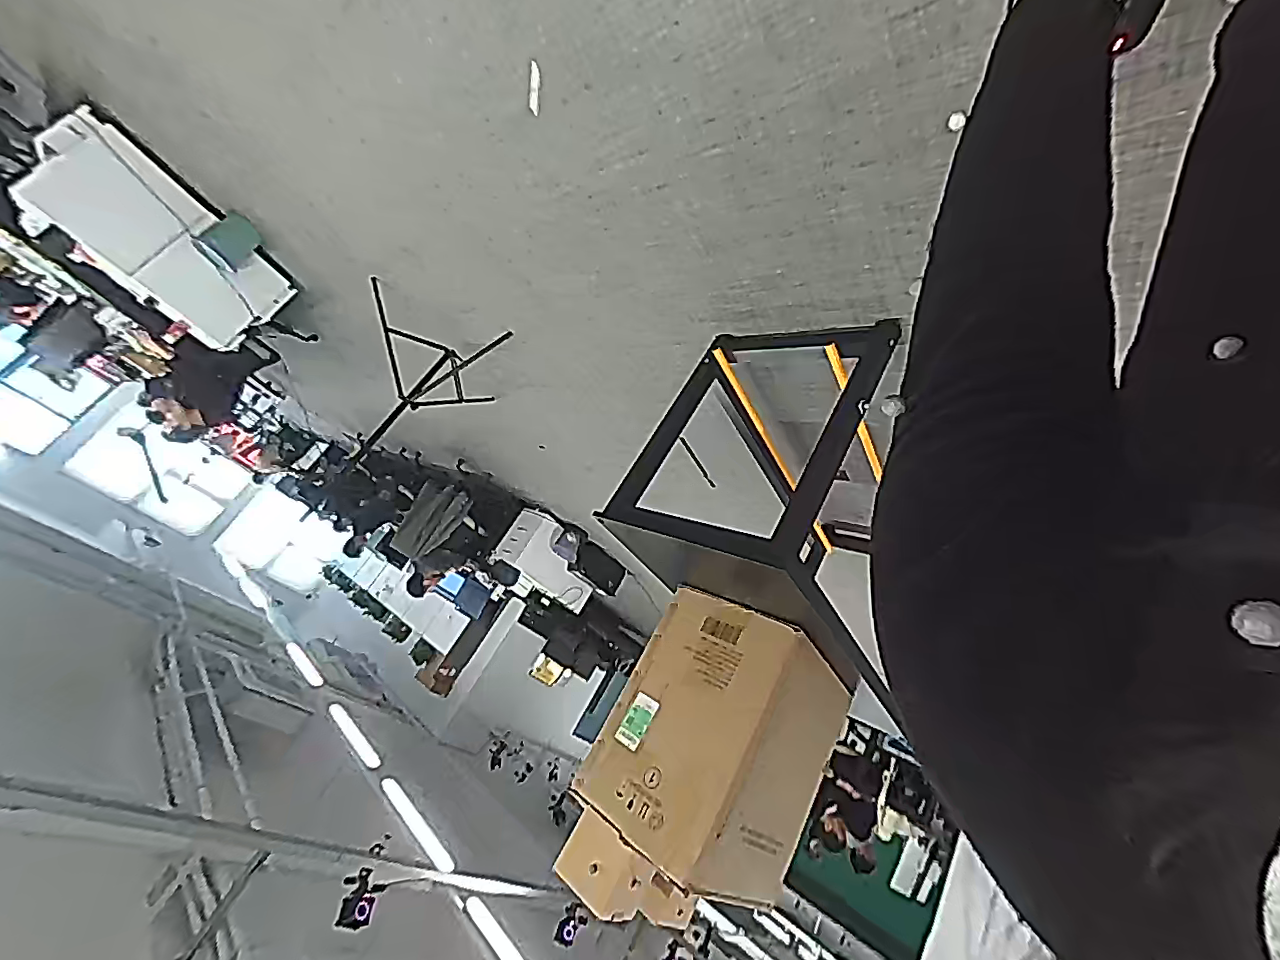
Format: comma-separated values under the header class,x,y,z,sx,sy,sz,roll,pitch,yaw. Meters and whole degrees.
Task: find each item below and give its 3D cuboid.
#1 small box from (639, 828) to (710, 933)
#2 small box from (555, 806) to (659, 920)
class,x,y,z,sx,sy,sz,roll,pitch,yaw
small box,0.073,1.136,1.541,0.168,0.176,0.179,13,150,45
small box,-0.074,0.968,1.373,0.179,0.176,0.168,15,154,42
